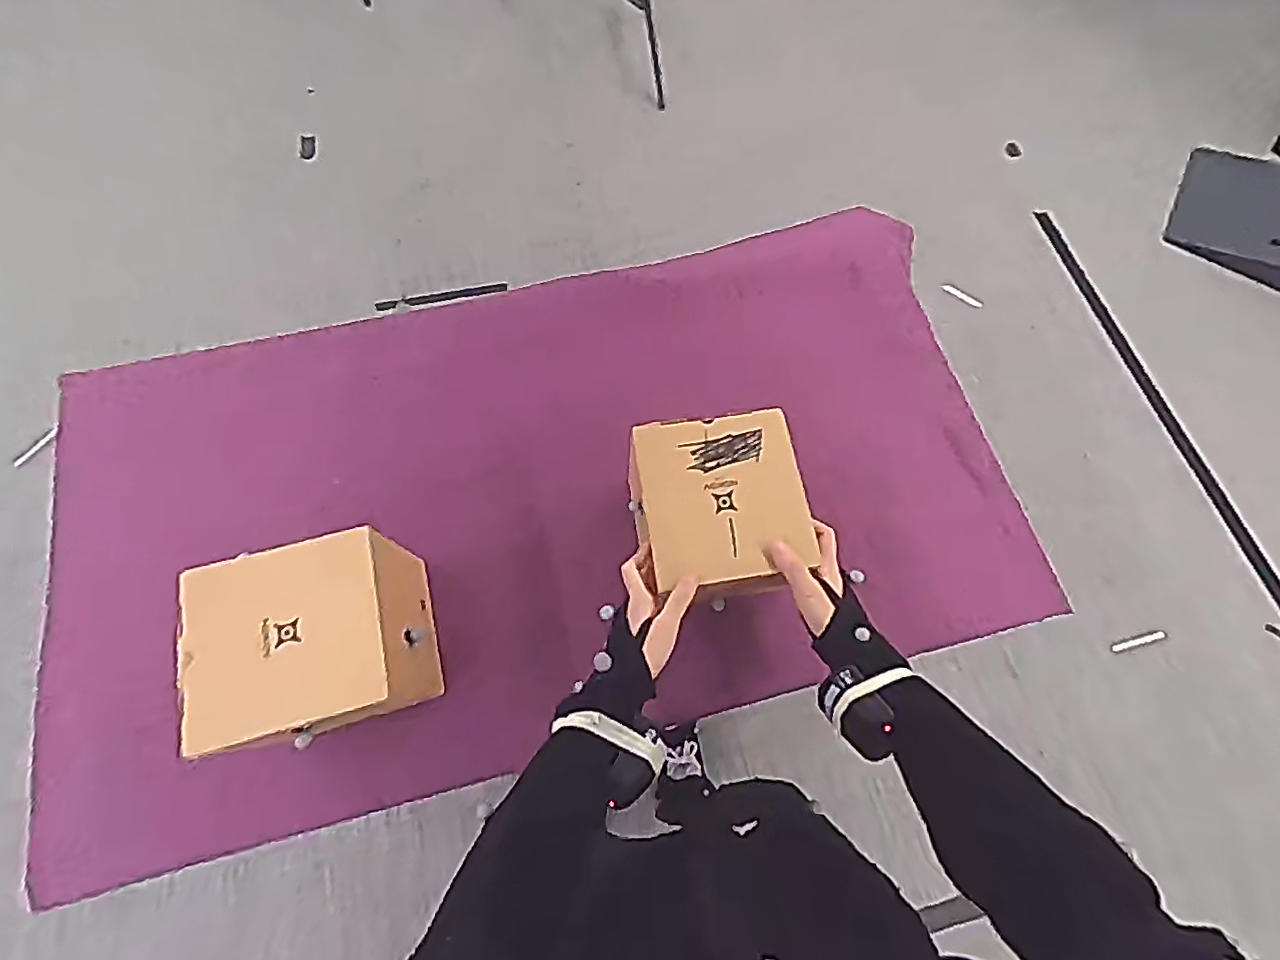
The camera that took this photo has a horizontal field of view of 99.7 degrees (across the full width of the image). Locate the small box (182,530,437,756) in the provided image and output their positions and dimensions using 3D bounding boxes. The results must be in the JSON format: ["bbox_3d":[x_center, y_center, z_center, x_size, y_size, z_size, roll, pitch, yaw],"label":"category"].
[{"bbox_3d":[-0.328,0.167,0.570,0.179,0.176,0.168,-15,72,-7],"label":"small box"}]

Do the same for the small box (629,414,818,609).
[{"bbox_3d":[0.079,0.044,0.625,0.168,0.176,0.179,-7,72,-5],"label":"small box"}]
